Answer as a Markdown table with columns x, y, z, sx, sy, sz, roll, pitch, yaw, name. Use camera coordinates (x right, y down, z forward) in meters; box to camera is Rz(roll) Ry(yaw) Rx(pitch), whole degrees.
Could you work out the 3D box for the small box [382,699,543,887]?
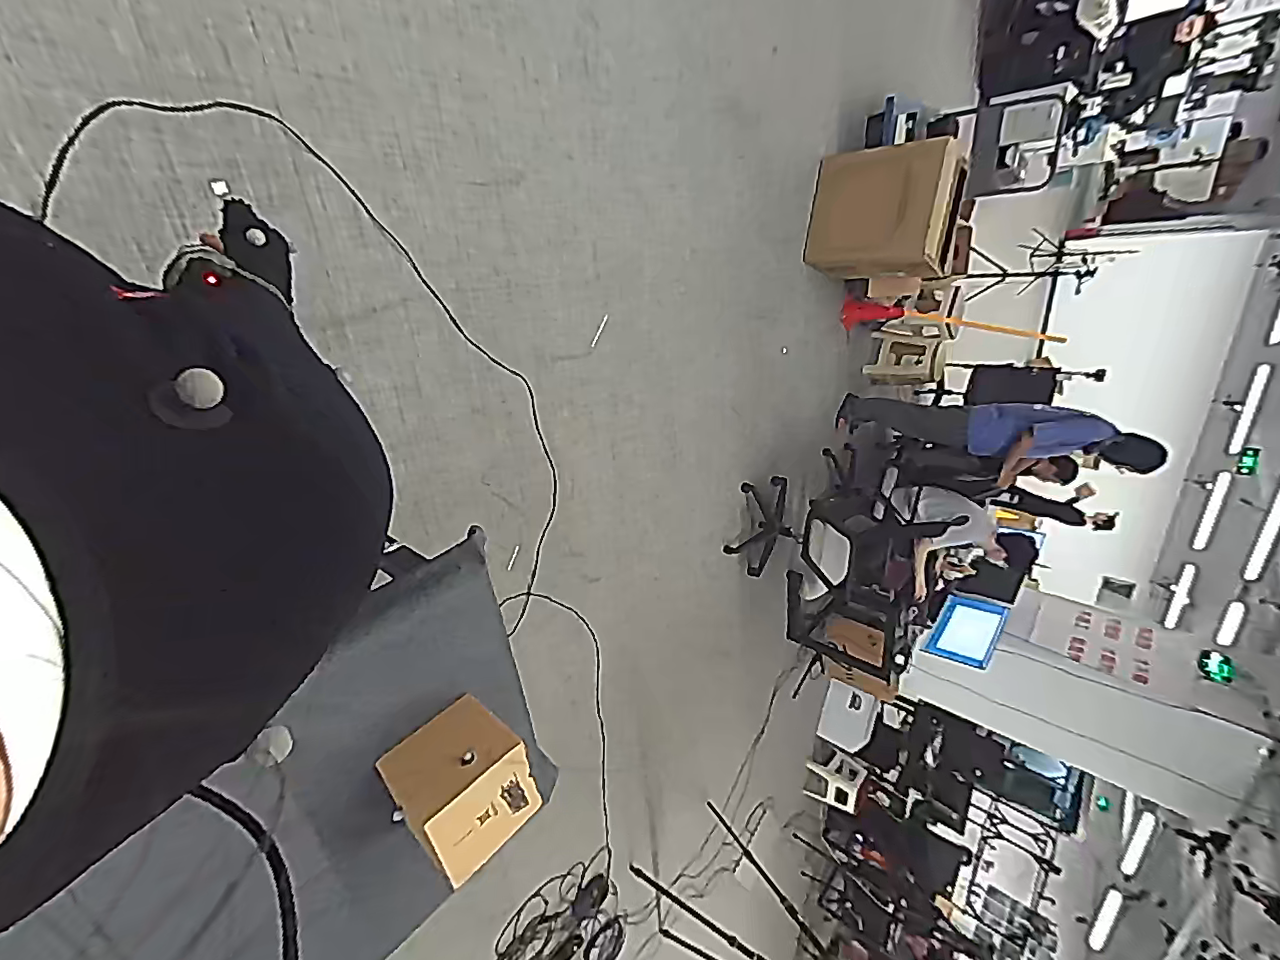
| x | y | z | sx | sy | sz | roll | pitch | yaw | name |
| --- | --- | --- | --- | --- | --- | --- | --- | --- | --- |
| -0.293 | 0.508 | 0.905 | 0.179 | 0.176 | 0.168 | -31 | 124 | -38 | small box |
